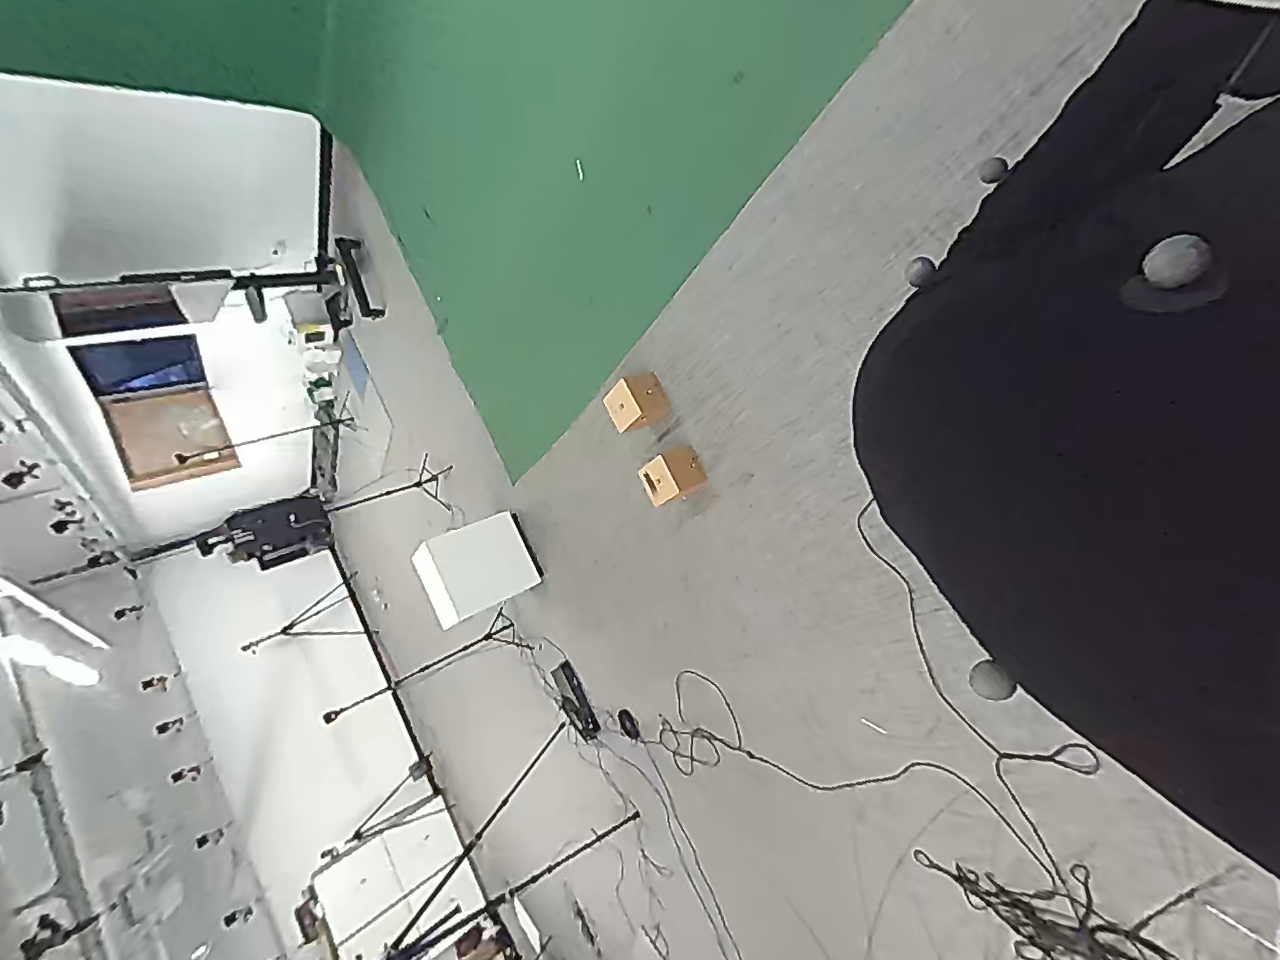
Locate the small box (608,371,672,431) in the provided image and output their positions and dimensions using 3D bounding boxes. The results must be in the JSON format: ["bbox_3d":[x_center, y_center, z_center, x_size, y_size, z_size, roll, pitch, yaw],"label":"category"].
[{"bbox_3d":[0.006,-0.322,2.177,0.179,0.176,0.168,-39,75,51],"label":"small box"}]
